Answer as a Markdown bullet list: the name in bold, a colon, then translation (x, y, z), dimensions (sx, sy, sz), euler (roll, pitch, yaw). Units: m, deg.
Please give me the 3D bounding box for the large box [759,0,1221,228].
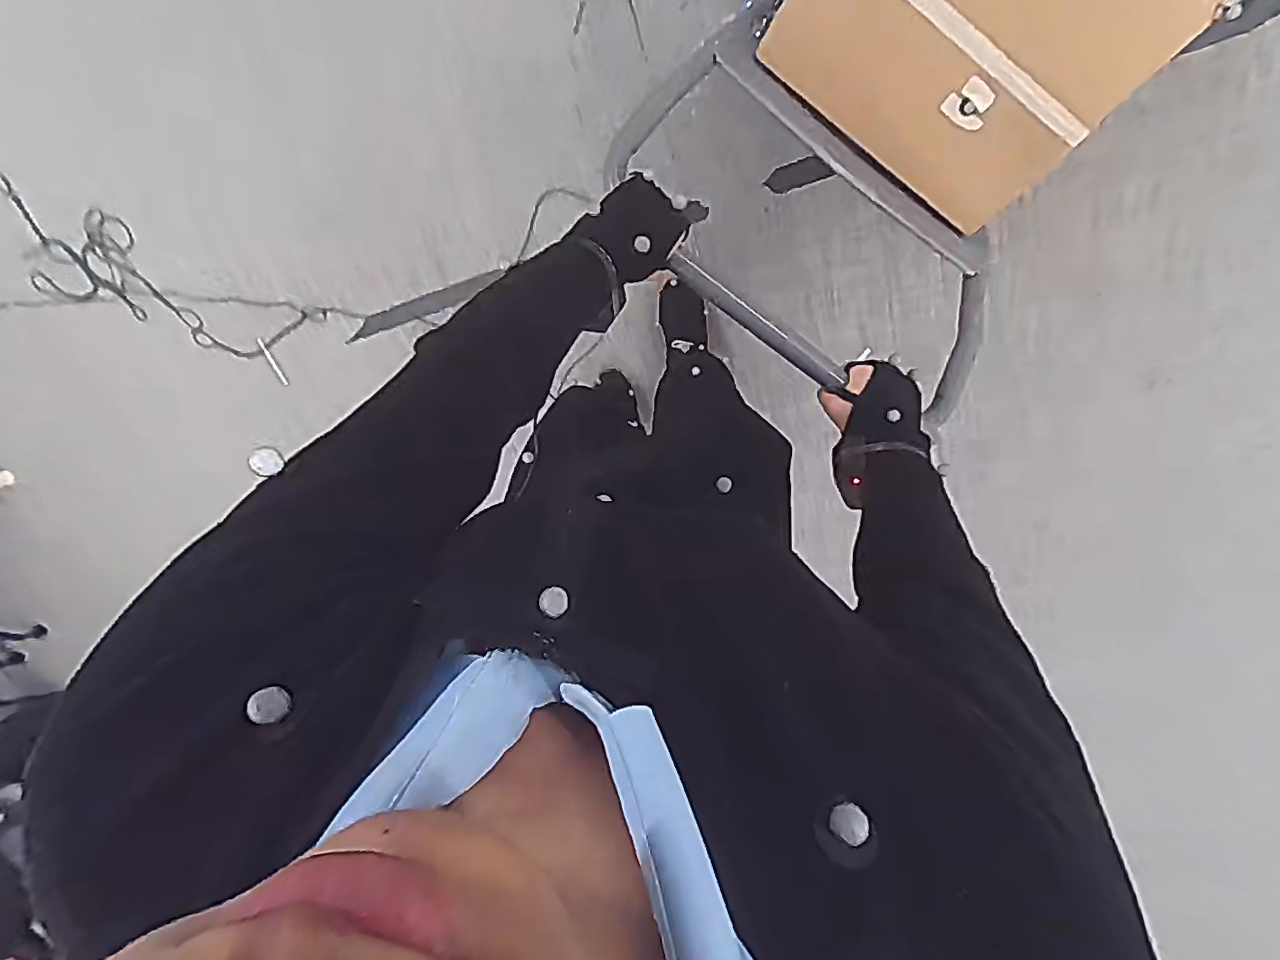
- **large box**: translation (0.442, -0.653, 0.754), dimensions (0.408, 0.320, 0.320), euler (33, 142, -9)
